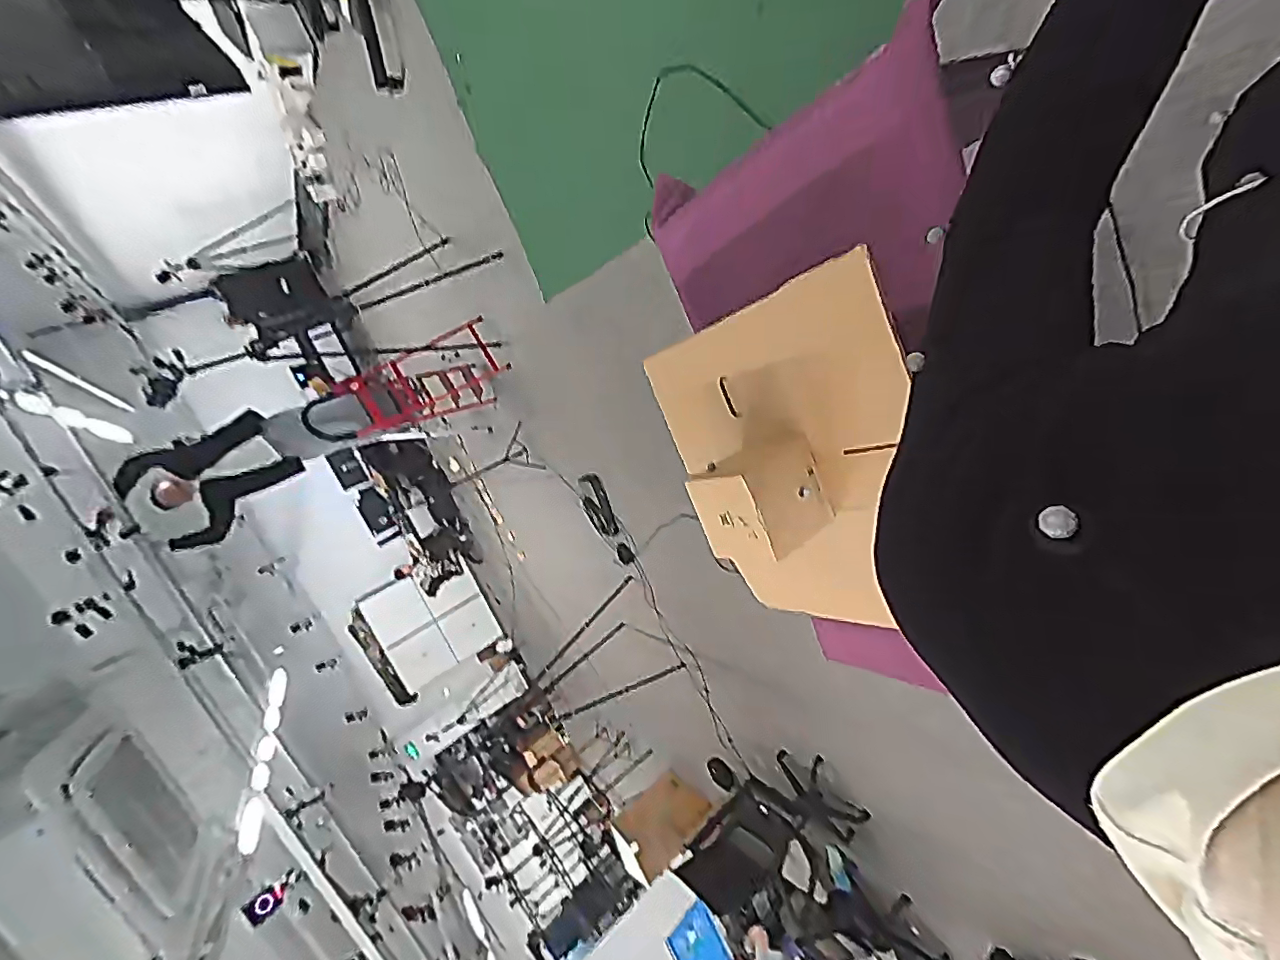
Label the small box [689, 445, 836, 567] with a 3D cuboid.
[{"bbox_3d":[0.229,0.046,1.011,0.179,0.176,0.168,-8,108,59],"label":"small box"}]
